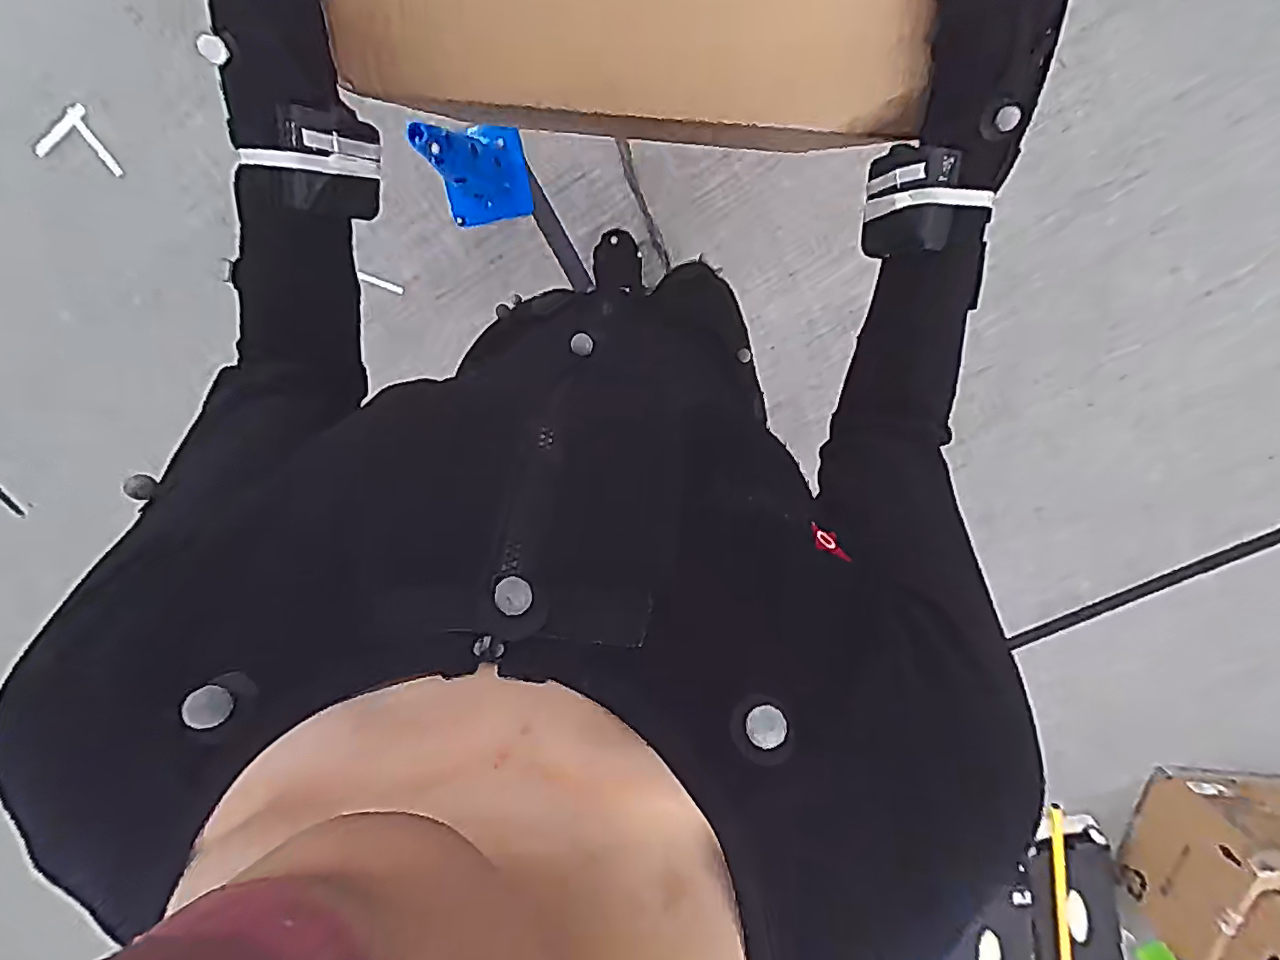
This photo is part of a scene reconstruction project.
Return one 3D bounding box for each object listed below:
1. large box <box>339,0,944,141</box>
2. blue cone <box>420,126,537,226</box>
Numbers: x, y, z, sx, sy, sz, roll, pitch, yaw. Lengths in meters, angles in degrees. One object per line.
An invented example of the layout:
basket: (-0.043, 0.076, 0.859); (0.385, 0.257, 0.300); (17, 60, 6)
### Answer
large box: (0.006, -0.473, 0.433); (0.408, 0.320, 0.320); (3, 120, -3)
blue cone: (-0.361, -0.660, 1.122); (0.193, 0.380, 0.192); (-7, 110, 7)
